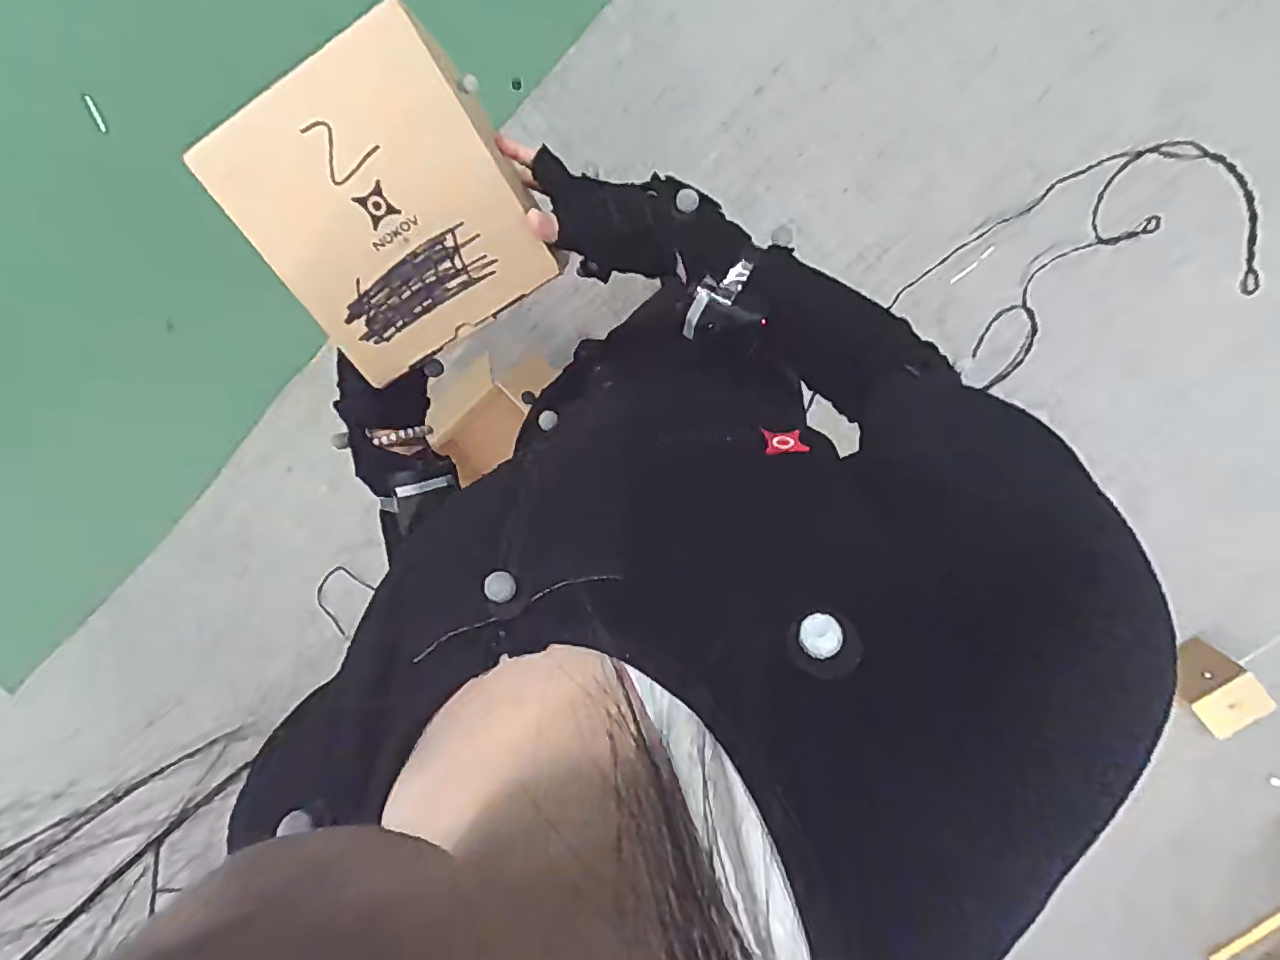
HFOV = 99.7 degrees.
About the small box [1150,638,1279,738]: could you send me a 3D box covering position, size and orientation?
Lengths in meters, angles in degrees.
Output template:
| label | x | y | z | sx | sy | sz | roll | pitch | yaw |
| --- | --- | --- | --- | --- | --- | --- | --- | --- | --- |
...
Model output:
| label | x | y | z | sx | sy | sz | roll | pitch | yaw |
| --- | --- | --- | --- | --- | --- | --- | --- | --- | --- |
| small box | 1.661 | 0.603 | 1.581 | 0.179 | 0.176 | 0.168 | -43 | 102 | 14 |
